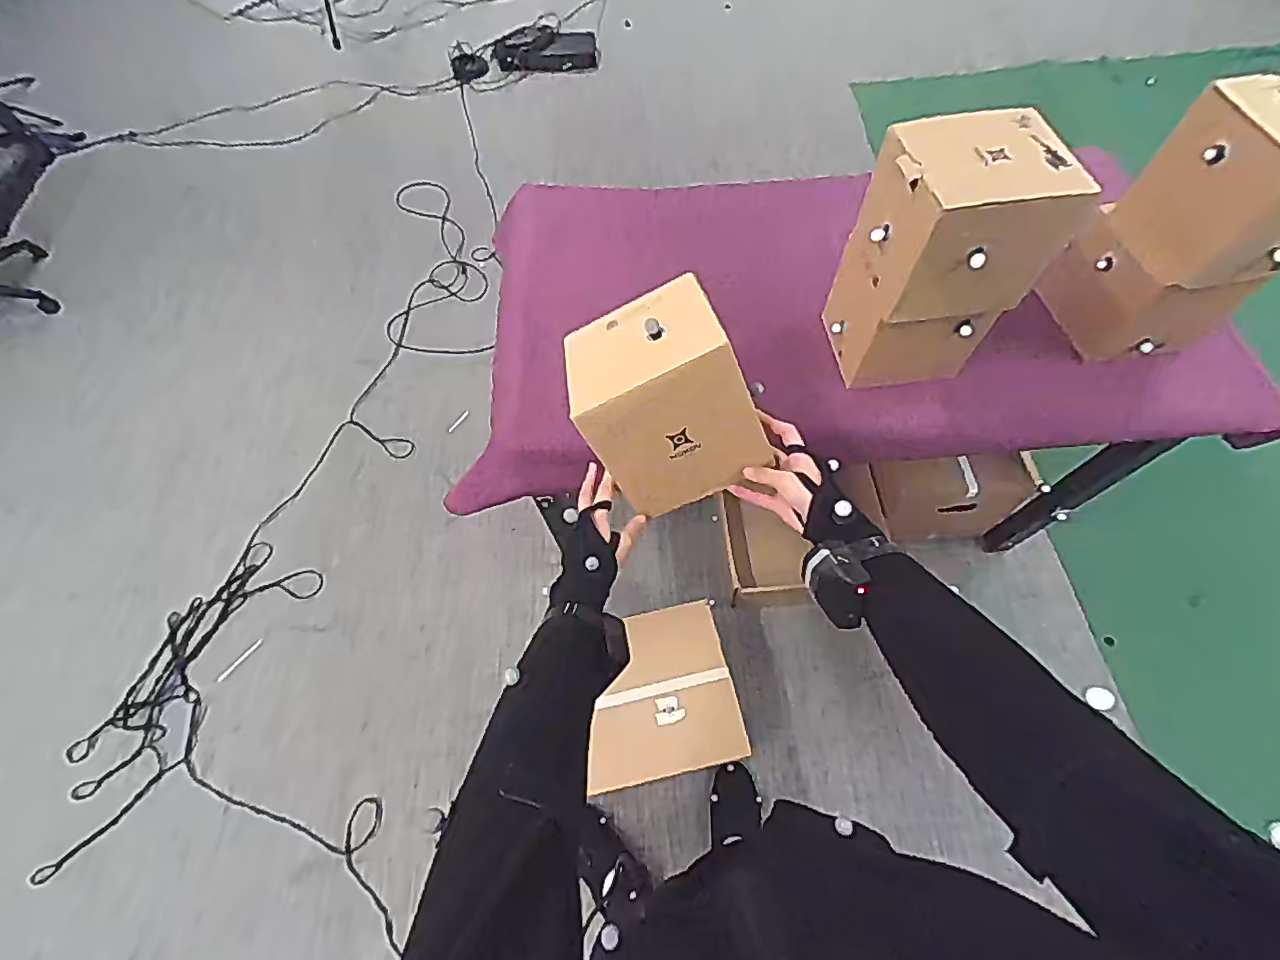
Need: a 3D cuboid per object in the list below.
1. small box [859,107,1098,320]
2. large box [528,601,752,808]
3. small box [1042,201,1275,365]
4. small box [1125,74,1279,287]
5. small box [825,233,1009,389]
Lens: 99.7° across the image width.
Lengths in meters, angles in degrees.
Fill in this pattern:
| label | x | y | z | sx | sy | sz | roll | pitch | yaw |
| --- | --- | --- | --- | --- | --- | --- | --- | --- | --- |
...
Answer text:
| label | x | y | z | sx | sy | sz | roll | pitch | yaw |
| --- | --- | --- | --- | --- | --- | --- | --- | --- | --- |
| small box | 0.391 | -0.320 | 0.671 | 0.179 | 0.176 | 0.168 | -7 | 62 | 1 |
| large box | -0.006 | 0.503 | 1.204 | 0.408 | 0.320 | 0.320 | -12 | 62 | -3 |
| small box | 0.768 | -0.302 | 0.822 | 0.168 | 0.176 | 0.179 | -8 | 61 | 1 |
| small box | 0.774 | -0.371 | 0.672 | 0.168 | 0.176 | 0.179 | -8 | 61 | 2 |
| small box | 0.404 | -0.259 | 0.824 | 0.179 | 0.176 | 0.168 | -6 | 61 | 1 |
